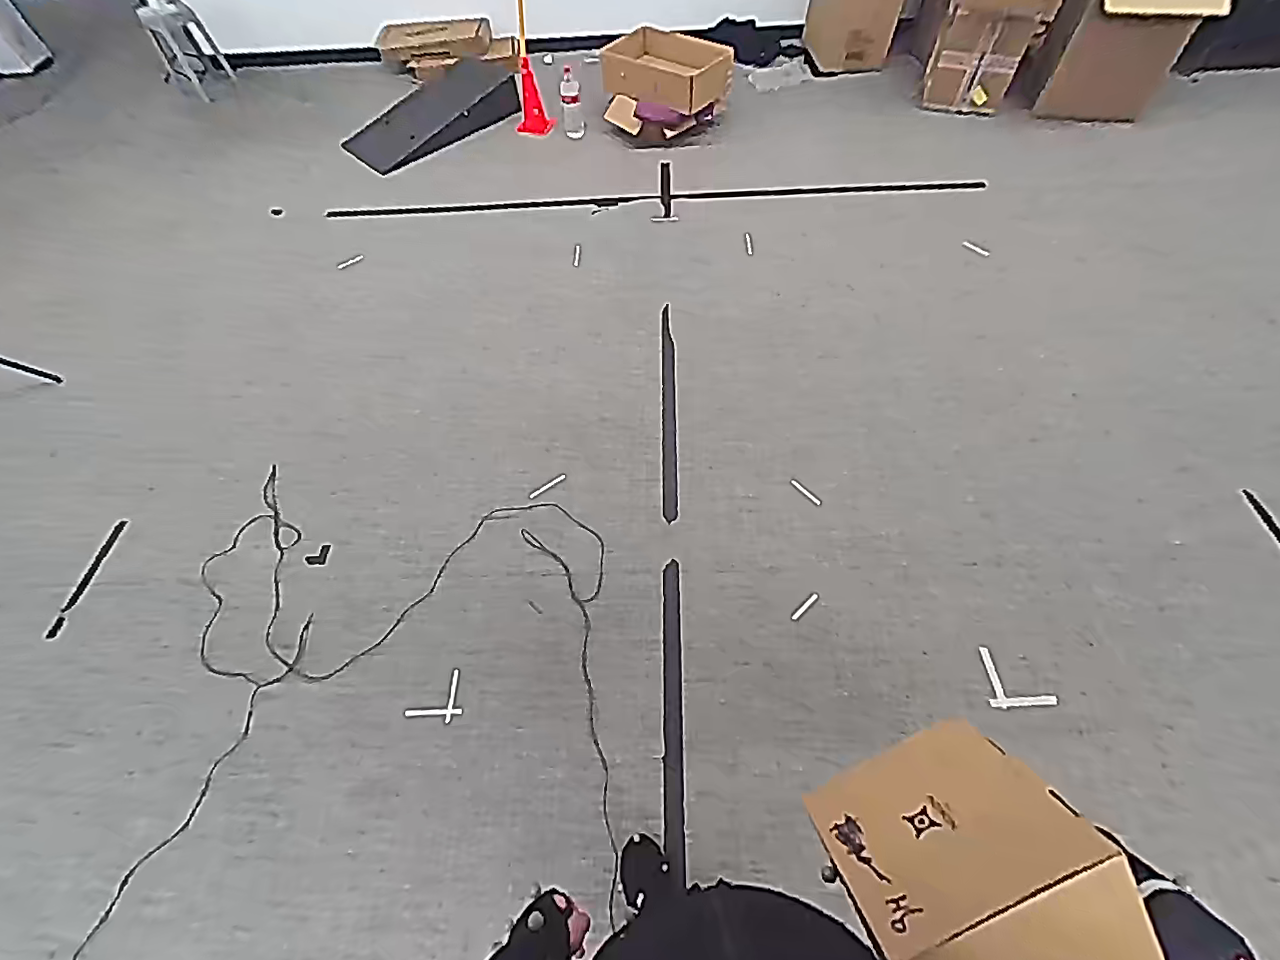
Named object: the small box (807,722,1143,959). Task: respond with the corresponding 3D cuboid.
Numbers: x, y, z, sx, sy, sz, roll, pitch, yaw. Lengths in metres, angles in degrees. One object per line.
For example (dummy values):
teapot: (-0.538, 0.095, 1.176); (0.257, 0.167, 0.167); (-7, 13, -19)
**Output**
small box: (0.280, 0.357, 0.465); (0.179, 0.168, 0.176); (-26, 98, -1)
